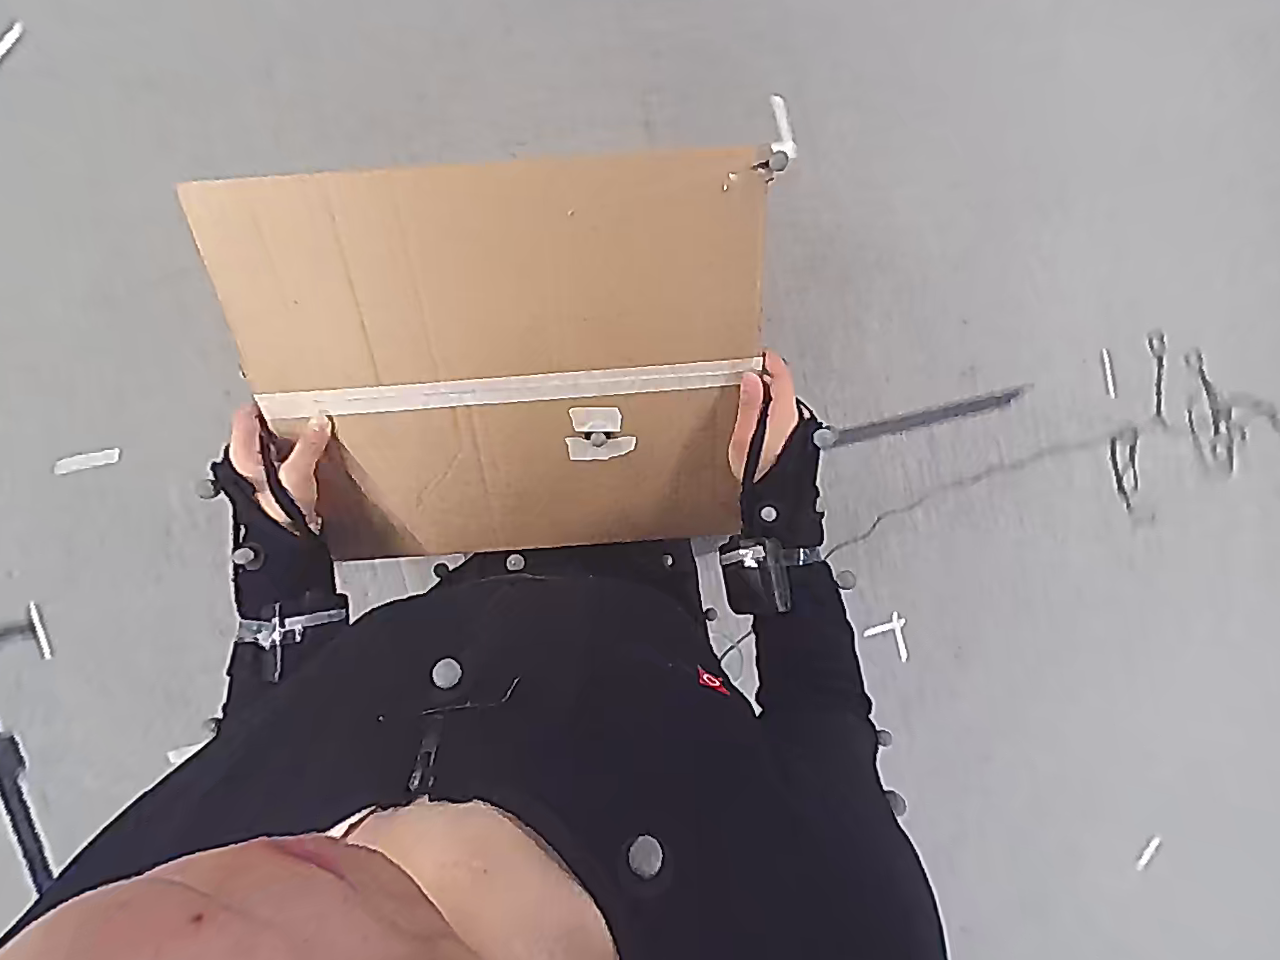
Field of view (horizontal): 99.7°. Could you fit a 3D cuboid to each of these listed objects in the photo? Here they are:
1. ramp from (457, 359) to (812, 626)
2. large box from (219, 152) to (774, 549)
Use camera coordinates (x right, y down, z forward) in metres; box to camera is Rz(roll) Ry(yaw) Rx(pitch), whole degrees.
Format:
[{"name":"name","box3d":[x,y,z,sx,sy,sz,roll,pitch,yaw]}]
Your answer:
[{"name":"ramp","box3d":[0.002,0.000,1.469,0.991,0.206,0.509,-17,93,-7]},{"name":"large box","box3d":[-0.102,-0.150,0.582,0.408,0.320,0.320,-3,118,-1]}]
